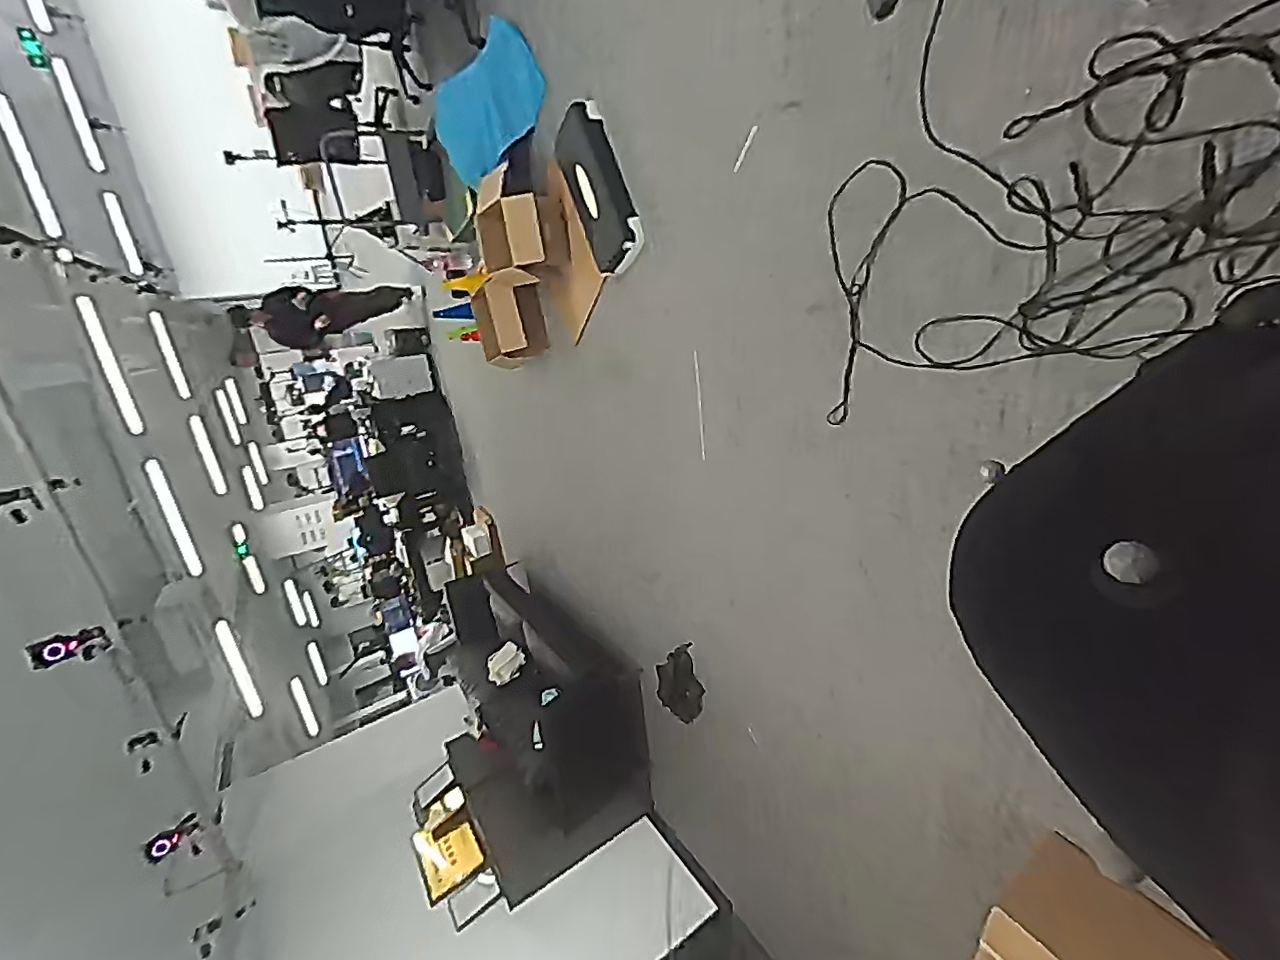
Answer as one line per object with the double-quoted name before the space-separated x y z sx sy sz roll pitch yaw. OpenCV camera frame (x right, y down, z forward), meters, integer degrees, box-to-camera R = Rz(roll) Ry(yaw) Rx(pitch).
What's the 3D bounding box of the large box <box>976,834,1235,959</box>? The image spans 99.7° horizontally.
"large box" 1.100 1.172 1.274 0.408 0.320 0.320 30 130 51
